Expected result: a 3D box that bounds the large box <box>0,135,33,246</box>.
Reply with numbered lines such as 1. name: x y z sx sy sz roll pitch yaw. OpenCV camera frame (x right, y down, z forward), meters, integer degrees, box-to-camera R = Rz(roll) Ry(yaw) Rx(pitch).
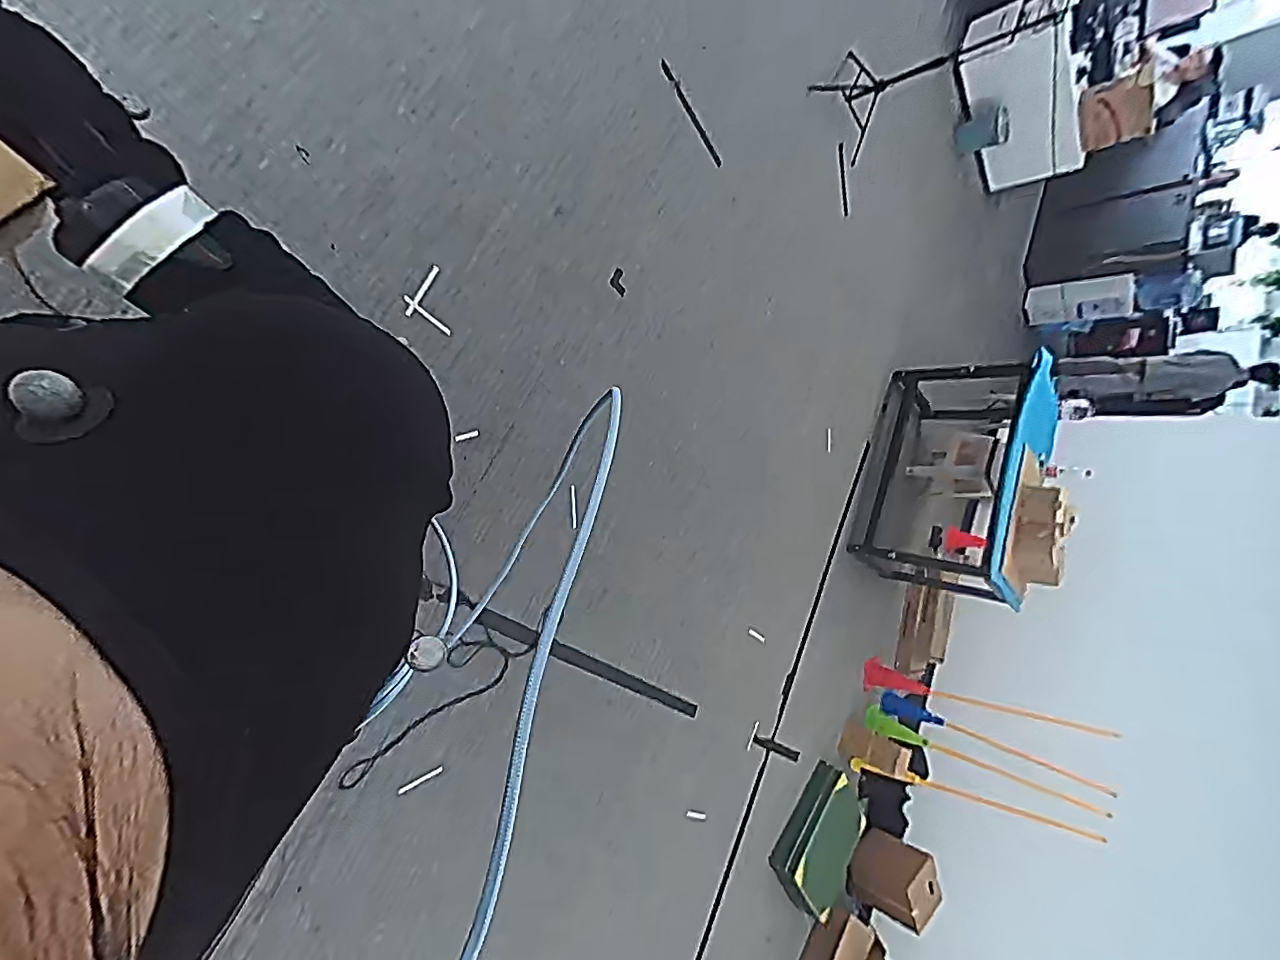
1. large box: -0.602 -0.130 0.220 0.408 0.320 0.320 -56 138 -19
